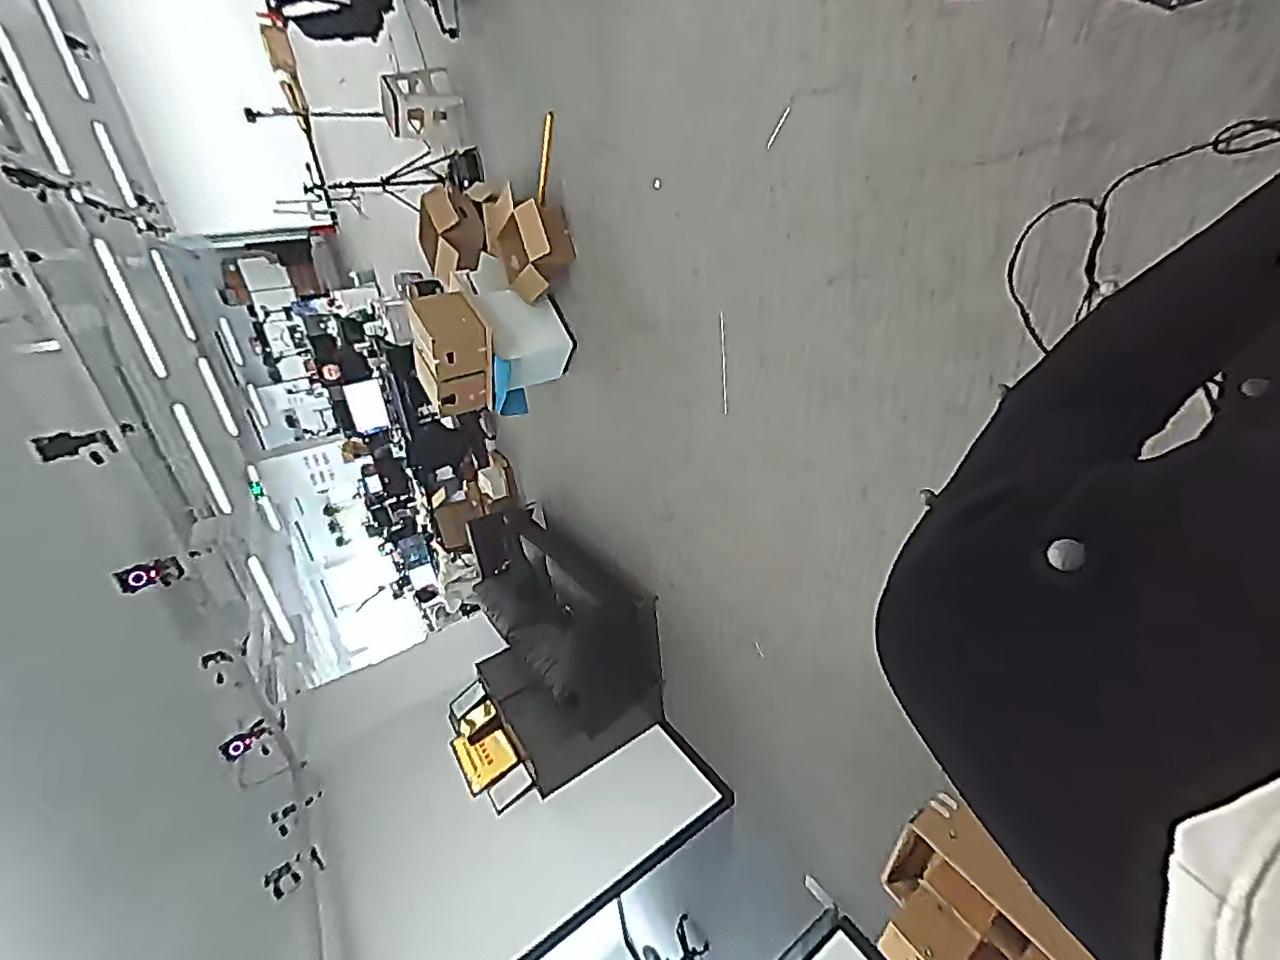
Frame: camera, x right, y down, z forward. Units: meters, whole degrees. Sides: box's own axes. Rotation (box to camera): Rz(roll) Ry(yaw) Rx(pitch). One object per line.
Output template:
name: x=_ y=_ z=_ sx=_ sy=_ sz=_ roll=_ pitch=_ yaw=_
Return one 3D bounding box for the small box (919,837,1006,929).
small box: x=0.958 y=1.232 z=1.624 sx=0.168 sy=0.176 sz=0.179 roll=34 pitch=136 yaw=44

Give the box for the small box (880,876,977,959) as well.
small box: x=0.826 y=1.293 z=1.547 sx=0.168 sy=0.176 sz=0.179 roll=36 pitch=138 yaw=43
